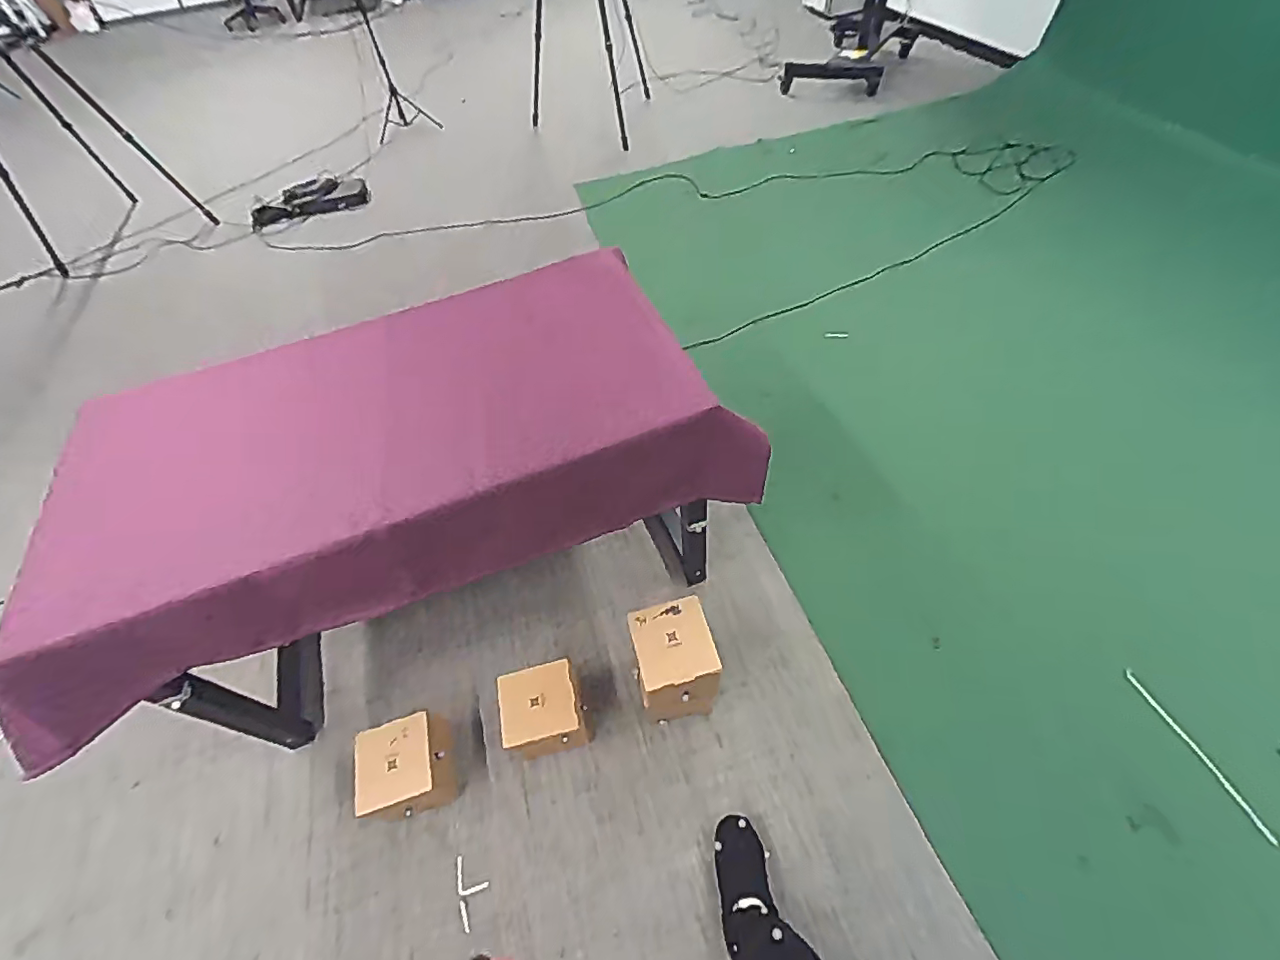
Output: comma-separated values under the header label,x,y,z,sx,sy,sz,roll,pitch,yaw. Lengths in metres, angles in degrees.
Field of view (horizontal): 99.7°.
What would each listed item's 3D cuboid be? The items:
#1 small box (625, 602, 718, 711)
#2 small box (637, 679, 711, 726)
label,x,y,z,sx,sy,sz,roll,pitch,yaw
small box,0.072,0.402,1.209,0.168,0.176,0.179,-14,54,-4
small box,0.080,0.496,1.344,0.168,0.176,0.179,-11,52,-2
